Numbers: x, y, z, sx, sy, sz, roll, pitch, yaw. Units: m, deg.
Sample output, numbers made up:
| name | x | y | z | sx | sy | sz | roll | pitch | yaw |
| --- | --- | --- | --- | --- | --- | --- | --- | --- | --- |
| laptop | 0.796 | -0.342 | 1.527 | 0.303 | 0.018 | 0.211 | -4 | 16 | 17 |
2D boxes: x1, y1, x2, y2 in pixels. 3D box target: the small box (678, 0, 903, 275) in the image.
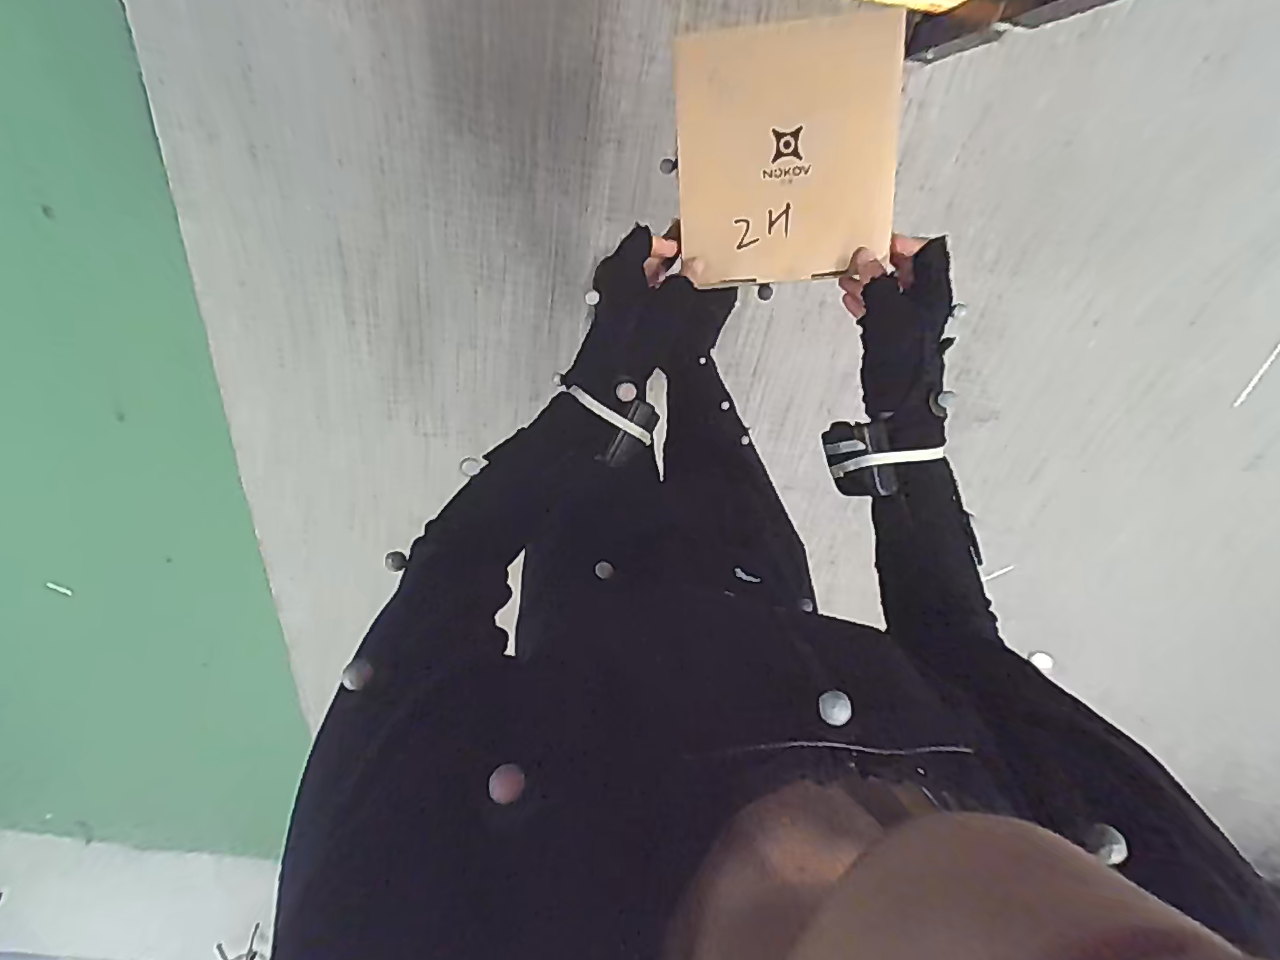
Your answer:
| name | x | y | z | sx | sy | sz | roll | pitch | yaw |
| --- | --- | --- | --- | --- | --- | --- | --- | --- | --- |
| small box | 0.120 | -0.287 | 0.494 | 0.168 | 0.176 | 0.179 | -2 | 110 | 7 |
